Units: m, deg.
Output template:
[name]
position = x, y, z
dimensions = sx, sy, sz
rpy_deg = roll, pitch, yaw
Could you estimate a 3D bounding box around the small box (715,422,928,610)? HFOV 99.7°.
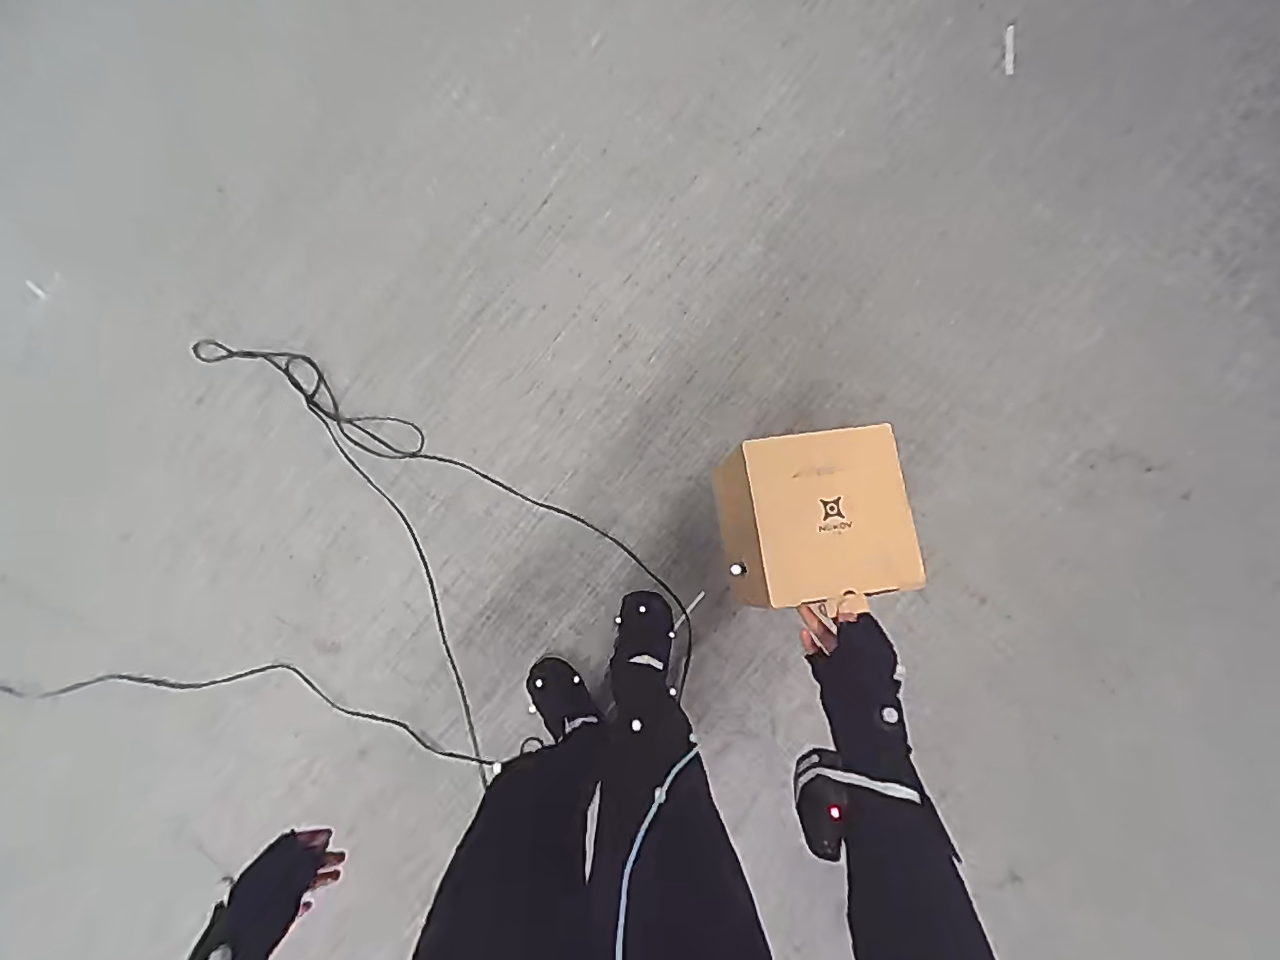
[small box]
position = 0.191, 0.046, 0.621
dimensions = 0.168, 0.176, 0.179
rpy_deg = -7, 80, -5
